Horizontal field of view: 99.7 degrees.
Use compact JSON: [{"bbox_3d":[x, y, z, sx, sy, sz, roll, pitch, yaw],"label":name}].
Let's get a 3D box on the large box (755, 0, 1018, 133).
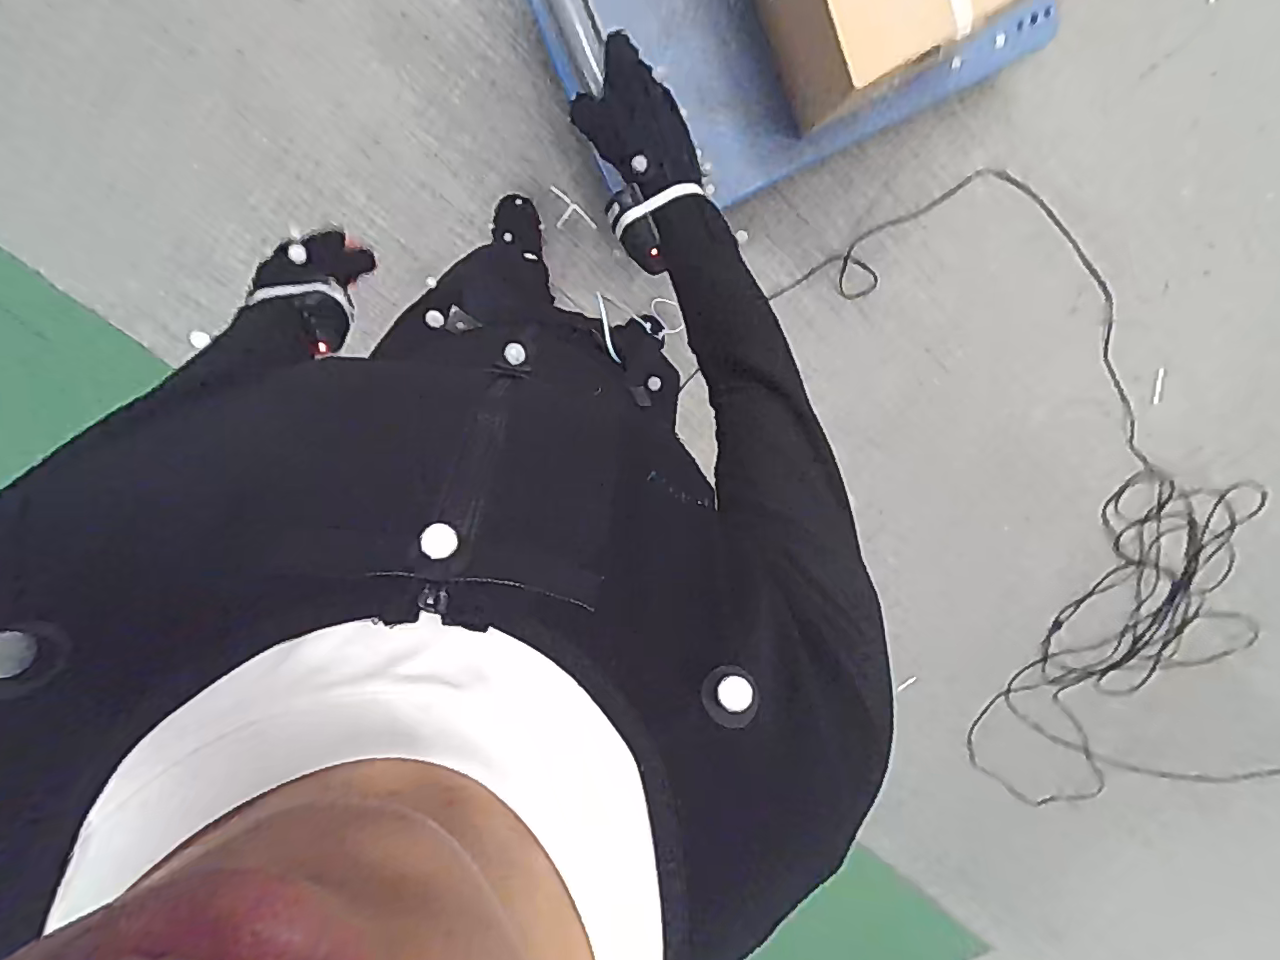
[{"bbox_3d":[0.361,-0.855,0.843,0.320,0.320,0.408,-25,108,10],"label":"large box"}]
